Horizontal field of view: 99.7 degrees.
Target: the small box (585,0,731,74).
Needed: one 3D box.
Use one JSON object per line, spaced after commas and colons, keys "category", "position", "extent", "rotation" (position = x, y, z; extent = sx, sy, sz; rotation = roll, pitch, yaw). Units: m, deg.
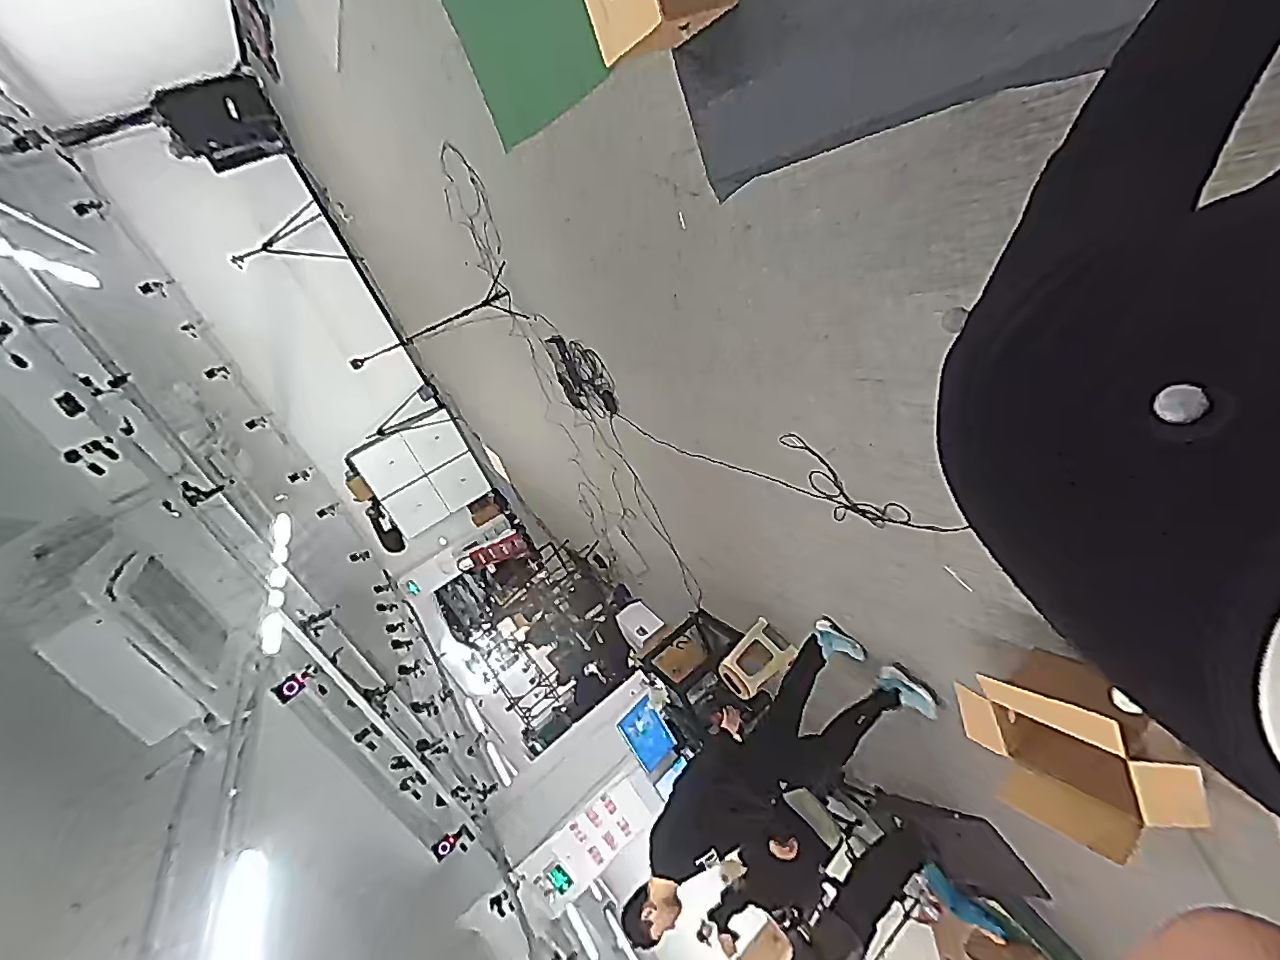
{"category": "small box", "position": [0.027, -0.794, 0.868], "extent": [0.179, 0.176, 0.168], "rotation": [23, 140, 53]}
